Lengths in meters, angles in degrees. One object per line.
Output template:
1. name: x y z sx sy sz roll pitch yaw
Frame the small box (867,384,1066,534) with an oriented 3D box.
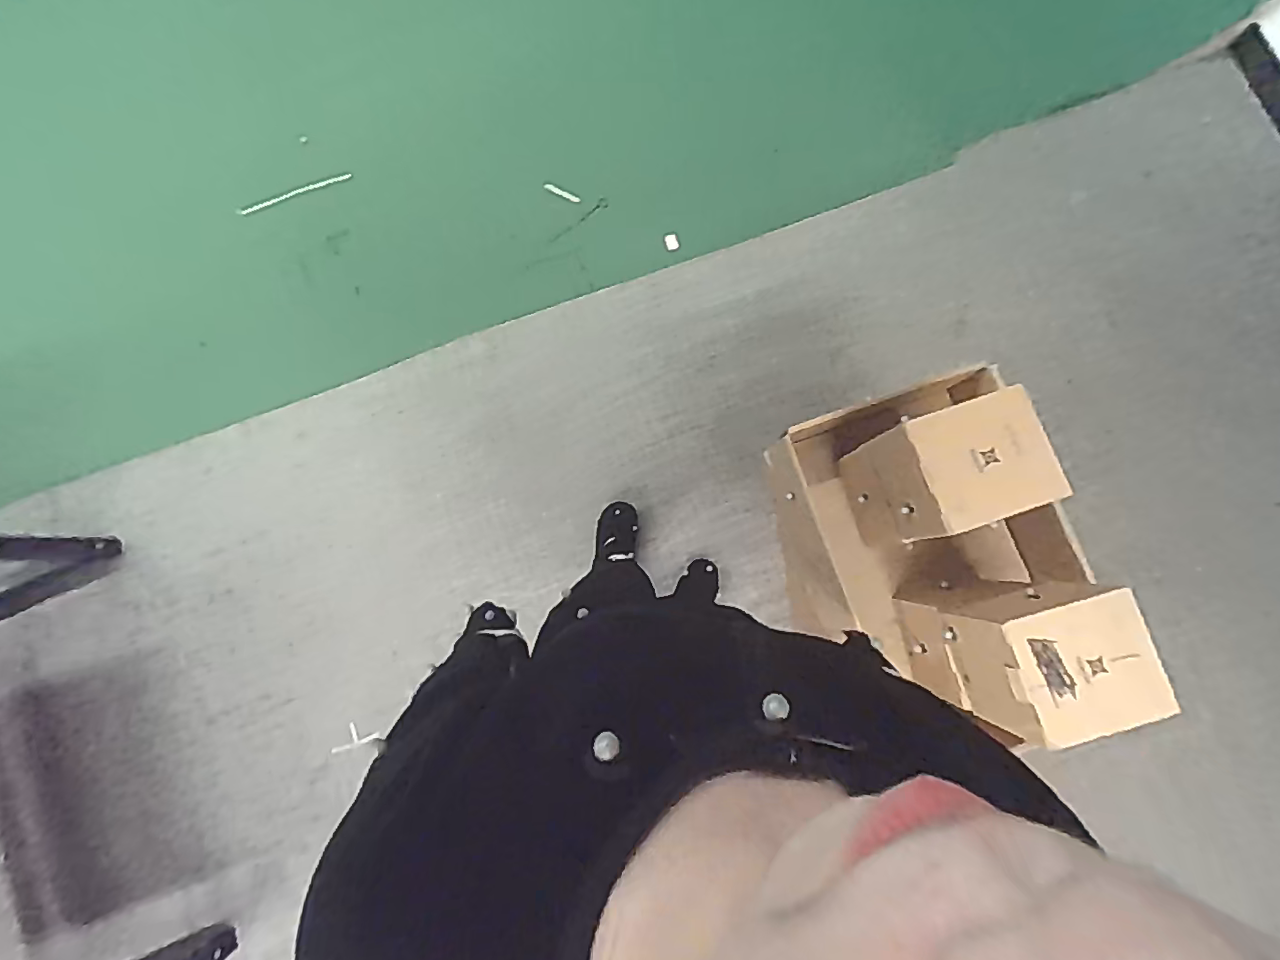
1. small box: 0.466 -0.020 0.811 0.179 0.176 0.168 -18 83 -2

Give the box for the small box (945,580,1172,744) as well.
1. small box: 0.571 0.246 0.772 0.179 0.176 0.168 -16 82 -1
